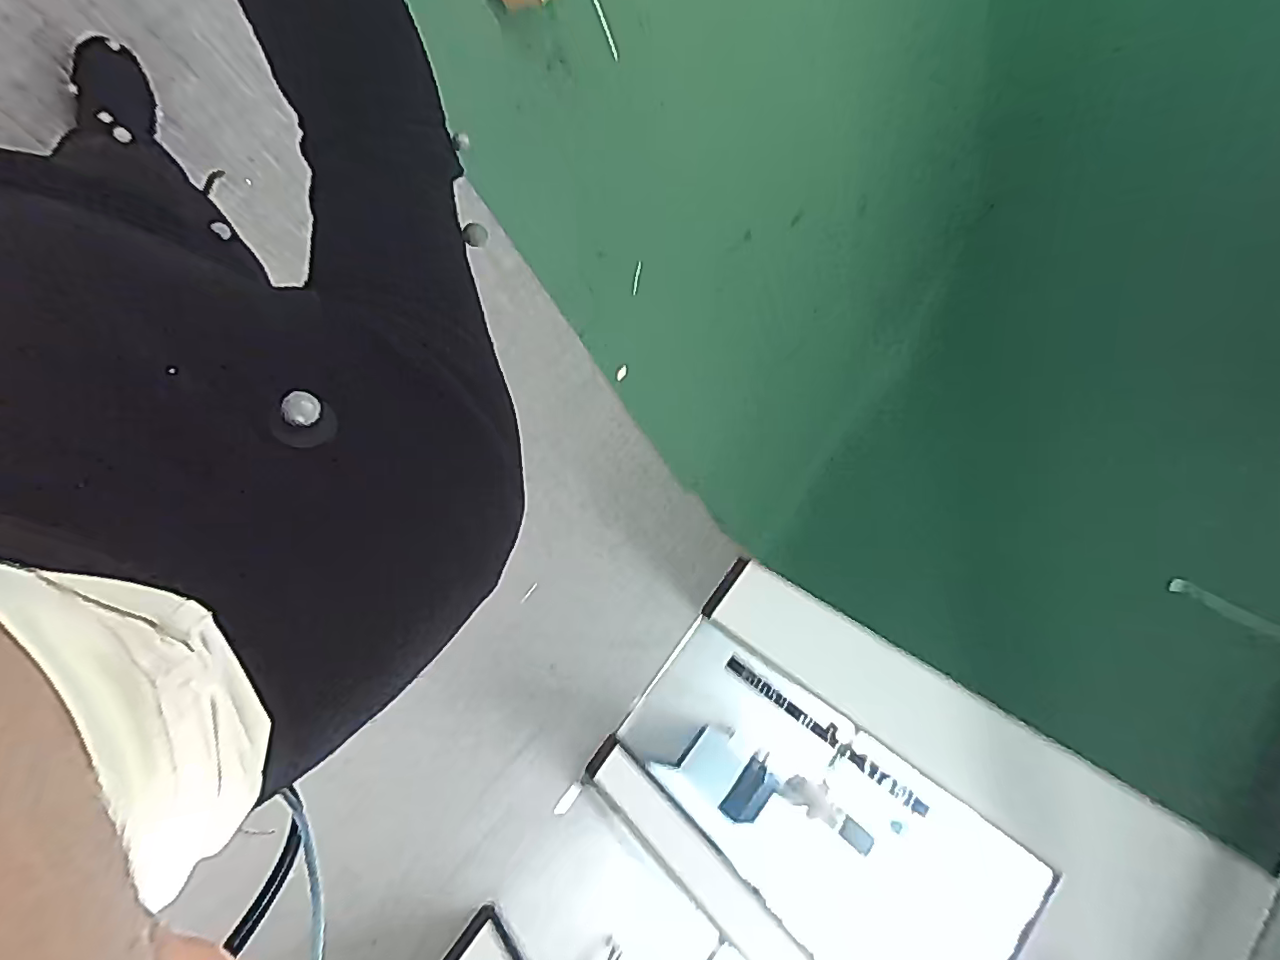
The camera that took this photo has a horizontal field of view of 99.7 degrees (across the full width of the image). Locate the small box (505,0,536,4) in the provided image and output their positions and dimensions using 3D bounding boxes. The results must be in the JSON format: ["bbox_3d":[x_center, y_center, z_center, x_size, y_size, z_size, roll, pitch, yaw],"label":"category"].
[{"bbox_3d":[-0.290,-1.322,1.332,0.168,0.176,0.179,-52,140,-10],"label":"small box"}]
